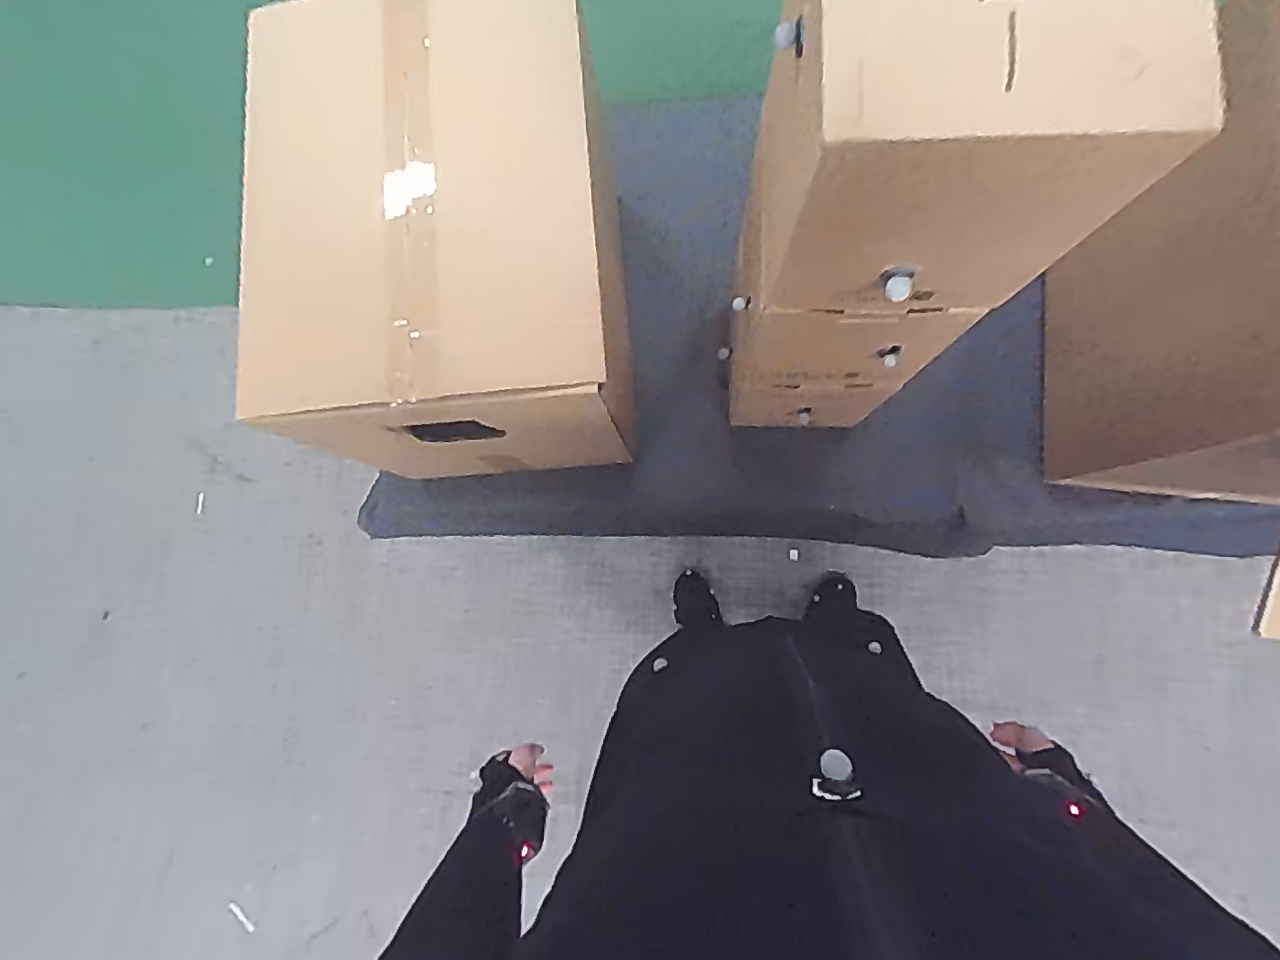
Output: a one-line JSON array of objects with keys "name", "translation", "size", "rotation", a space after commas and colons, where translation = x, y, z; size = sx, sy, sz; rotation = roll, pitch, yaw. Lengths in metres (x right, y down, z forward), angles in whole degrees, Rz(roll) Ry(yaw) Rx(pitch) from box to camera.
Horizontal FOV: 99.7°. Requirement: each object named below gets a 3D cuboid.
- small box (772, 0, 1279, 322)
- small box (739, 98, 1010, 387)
[{"name": "small box", "translation": [0.167, -0.202, 0.292], "size": [0.168, 0.176, 0.179], "rotation": [1, 84, 5]}, {"name": "small box", "translation": [0.176, -0.182, 0.455], "size": [0.168, 0.176, 0.179], "rotation": [0, 82, 4]}]
